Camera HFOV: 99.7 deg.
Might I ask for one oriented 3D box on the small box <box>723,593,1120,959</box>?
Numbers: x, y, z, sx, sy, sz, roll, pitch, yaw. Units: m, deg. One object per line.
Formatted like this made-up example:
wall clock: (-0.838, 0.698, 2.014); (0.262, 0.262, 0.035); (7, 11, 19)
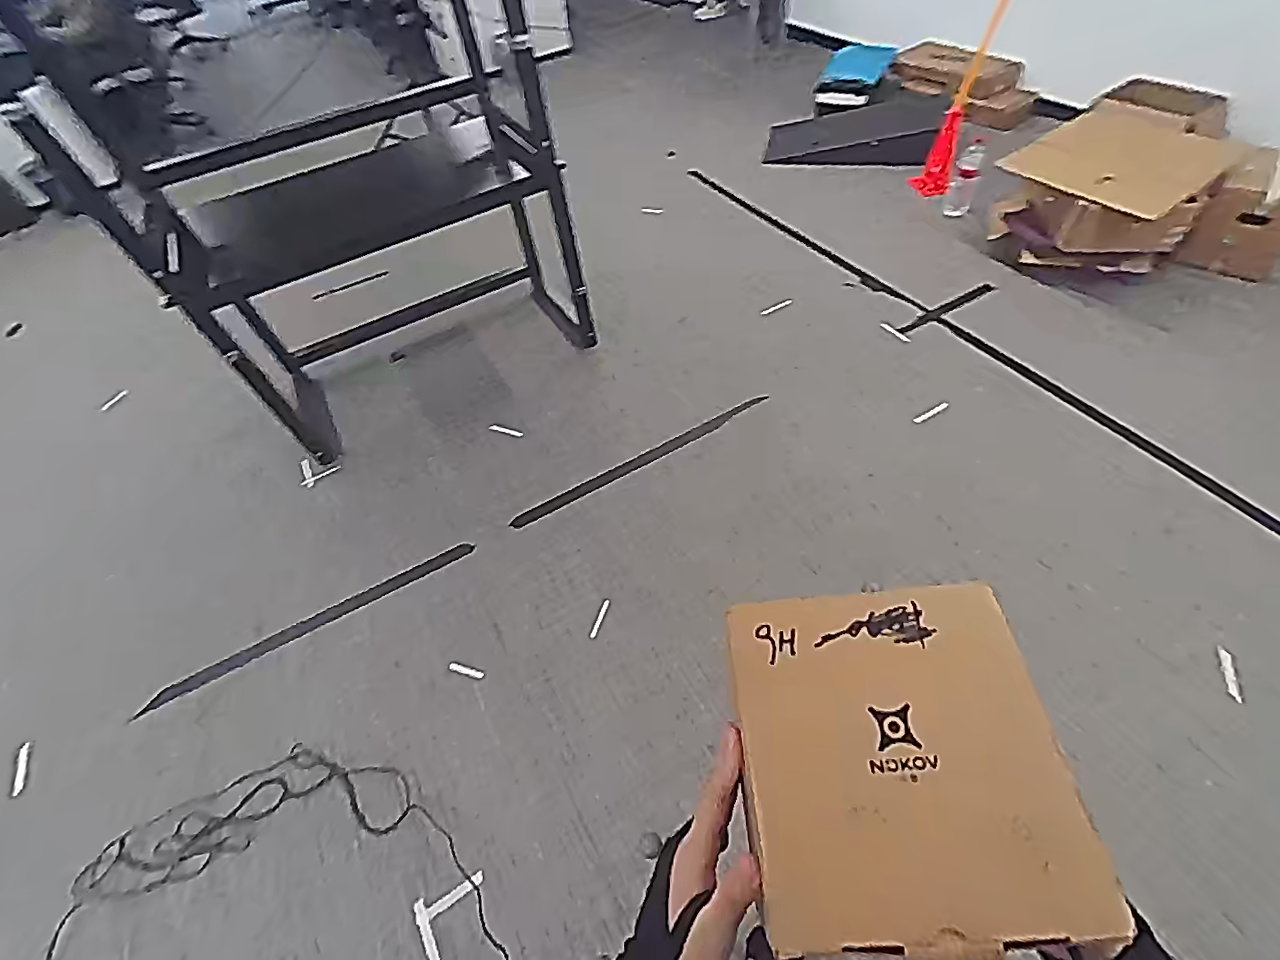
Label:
small box: (0.150, 0.194, 0.370); (0.168, 0.176, 0.179); (-7, 58, 3)
